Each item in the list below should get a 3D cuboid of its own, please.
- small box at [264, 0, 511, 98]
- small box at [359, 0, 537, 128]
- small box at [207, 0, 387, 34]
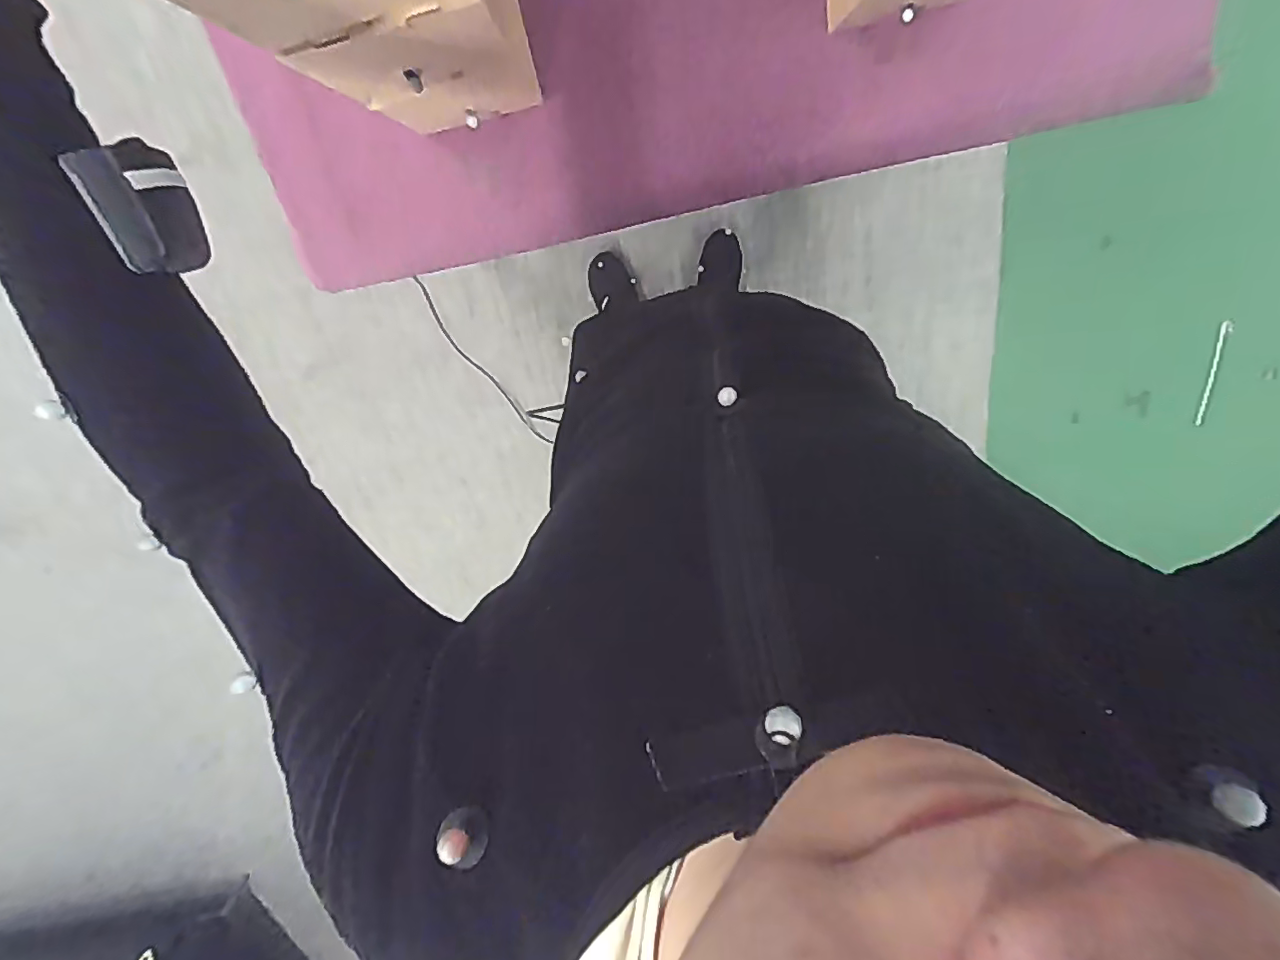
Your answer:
[{"bbox_3d":[-0.221,-0.451,0.442,0.168,0.176,0.179,-13,115,5],"label":"small box"},{"bbox_3d":[-0.223,-0.516,0.590,0.168,0.176,0.179,-11,114,5],"label":"small box"},{"bbox_3d":[-0.218,-0.384,0.292,0.179,0.176,0.168,-14,114,6],"label":"small box"}]
